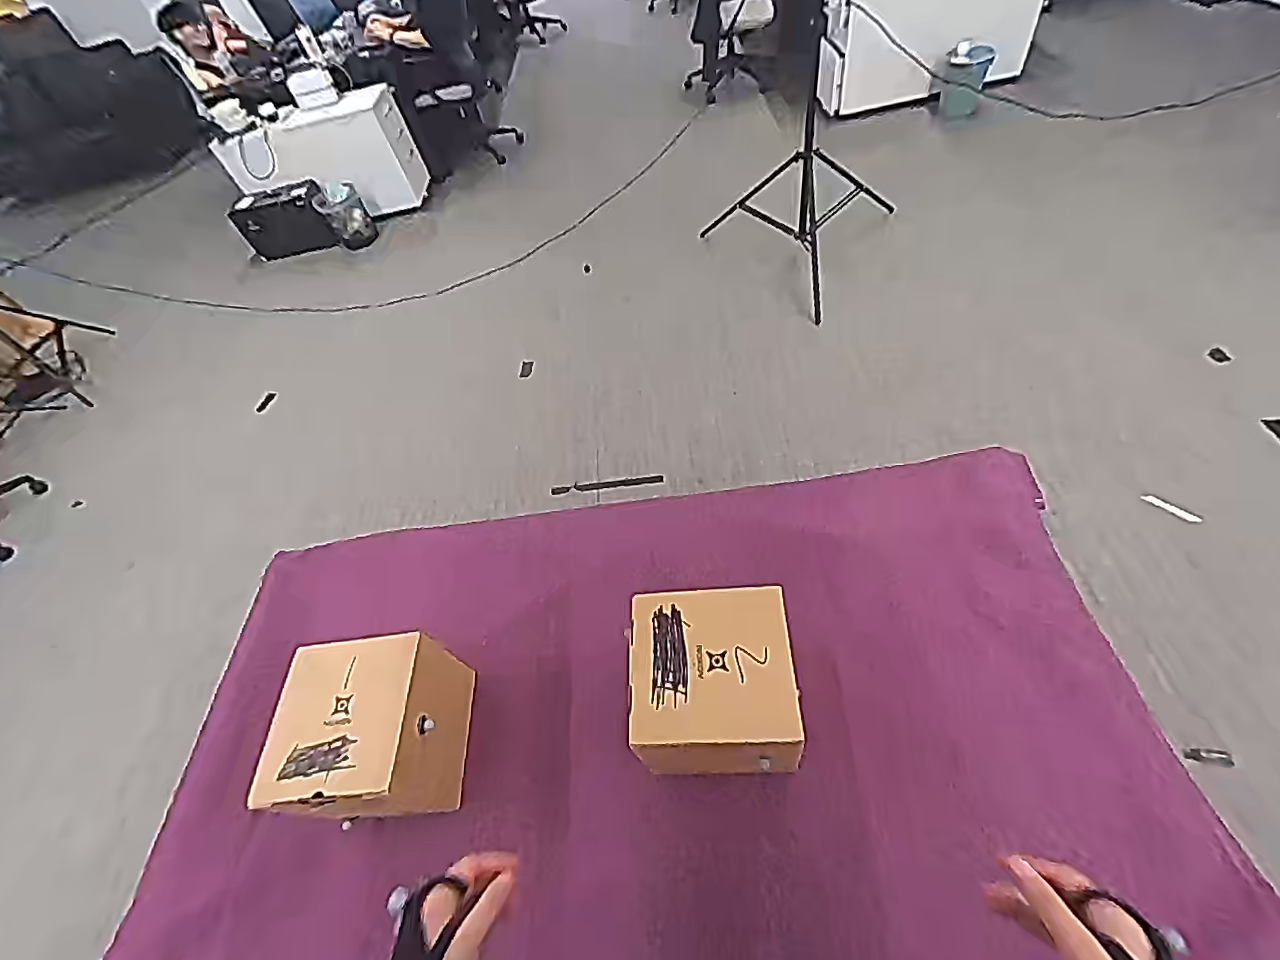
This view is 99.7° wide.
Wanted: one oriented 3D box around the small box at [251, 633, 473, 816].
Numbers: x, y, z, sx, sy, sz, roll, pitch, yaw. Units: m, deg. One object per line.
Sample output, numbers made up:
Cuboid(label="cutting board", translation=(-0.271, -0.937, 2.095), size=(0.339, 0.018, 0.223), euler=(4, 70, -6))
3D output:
Cuboid(label="small box", translation=(-0.327, 0.314, 0.681), size=(0.168, 0.176, 0.179), euler=(-9, 52, 5))
